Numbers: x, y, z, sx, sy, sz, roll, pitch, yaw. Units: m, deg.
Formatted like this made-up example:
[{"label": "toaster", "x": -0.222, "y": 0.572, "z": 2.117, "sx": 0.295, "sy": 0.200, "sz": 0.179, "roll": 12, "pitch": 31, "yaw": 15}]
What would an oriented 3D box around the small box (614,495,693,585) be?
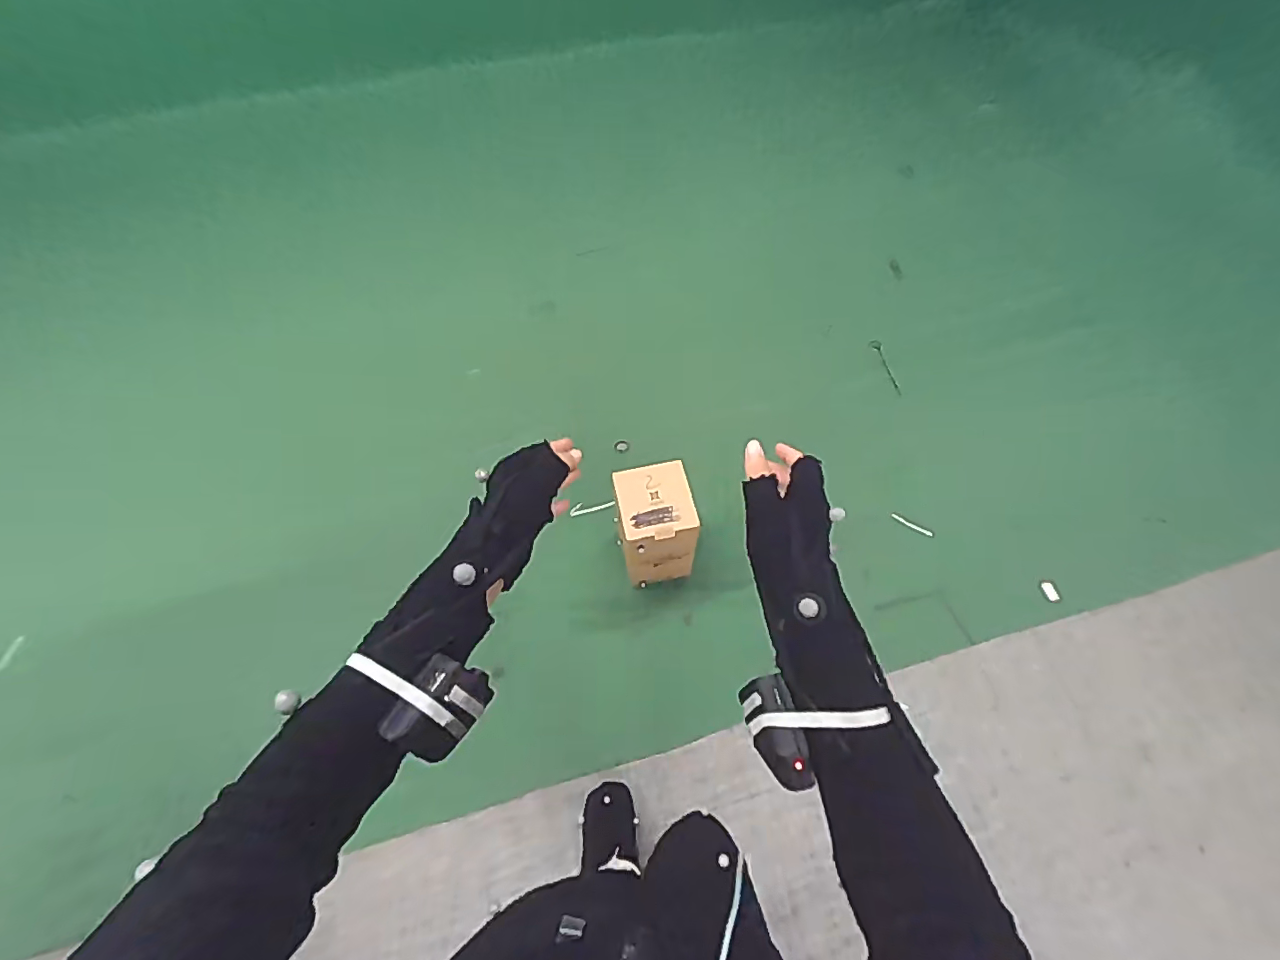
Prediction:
[{"label": "small box", "x": 0.032, "y": 0.164, "z": 1.416, "sx": 0.168, "sy": 0.176, "sz": 0.179, "roll": -13, "pitch": 65, "yaw": -7}]
